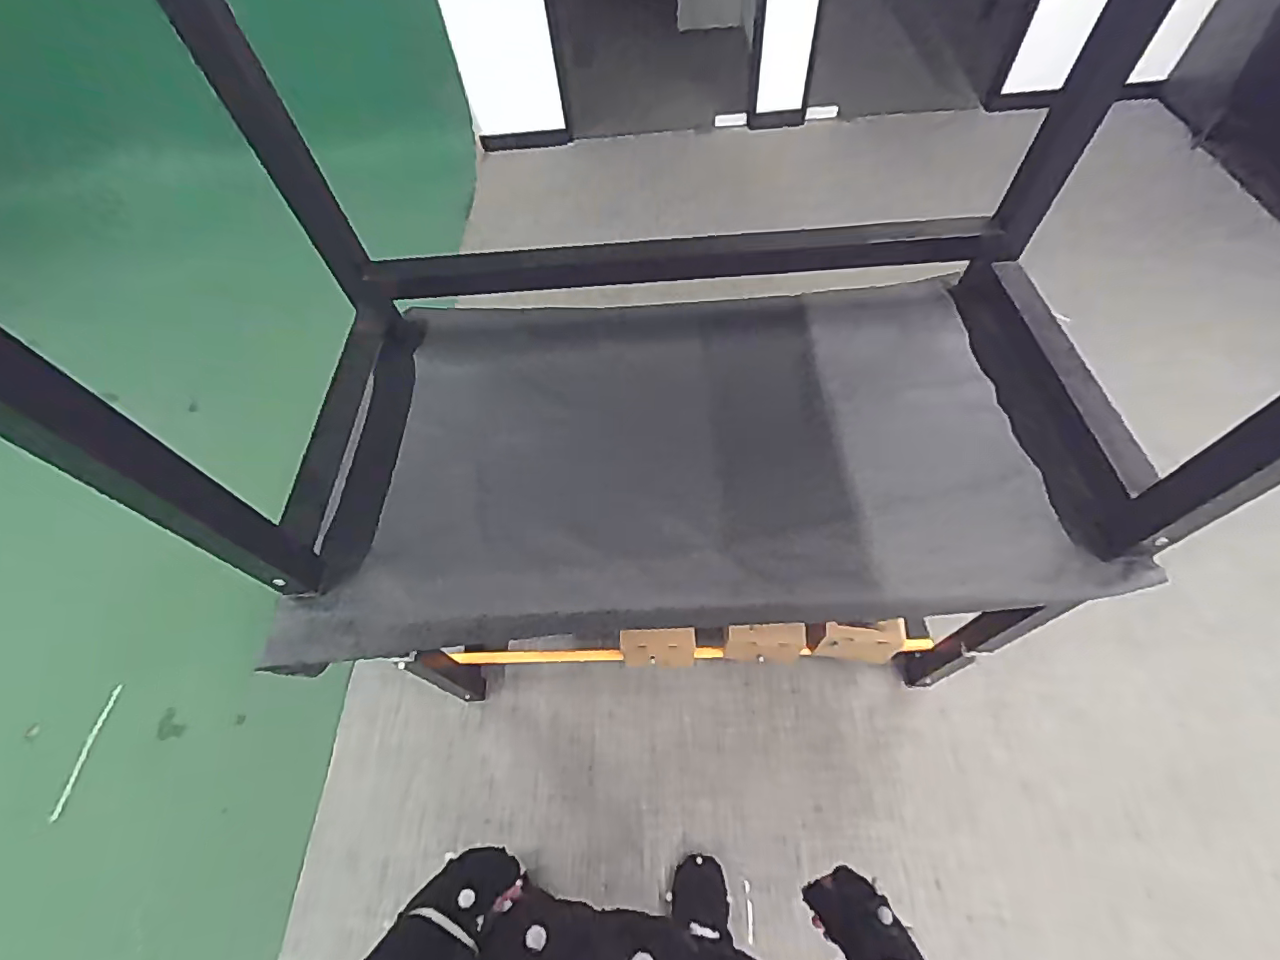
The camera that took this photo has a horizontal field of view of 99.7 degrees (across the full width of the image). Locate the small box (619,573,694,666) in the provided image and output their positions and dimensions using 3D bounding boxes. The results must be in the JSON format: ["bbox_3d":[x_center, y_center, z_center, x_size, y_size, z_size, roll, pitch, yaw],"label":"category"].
[{"bbox_3d":[0.041,0.331,1.281,0.168,0.176,0.179,-1,60,3],"label":"small box"}]
